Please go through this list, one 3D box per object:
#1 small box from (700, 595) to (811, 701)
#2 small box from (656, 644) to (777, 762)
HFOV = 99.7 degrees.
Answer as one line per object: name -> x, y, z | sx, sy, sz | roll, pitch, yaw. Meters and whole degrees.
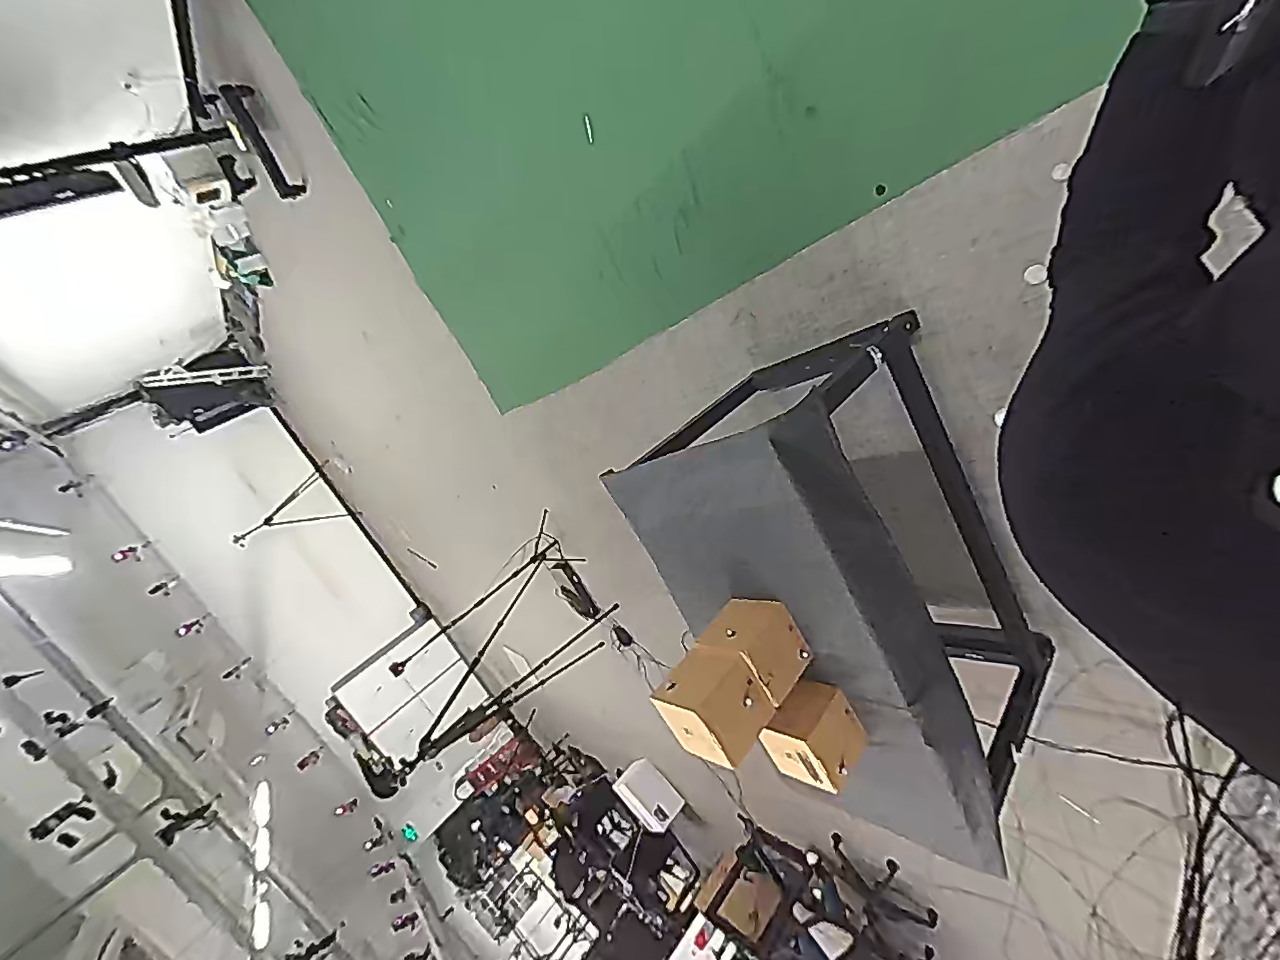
small box -> 0.285, 0.393, 1.299 | 0.179, 0.176, 0.168 | -13, 111, 56
small box -> 0.175, 0.493, 1.227 | 0.179, 0.176, 0.168 | -17, 109, 55
